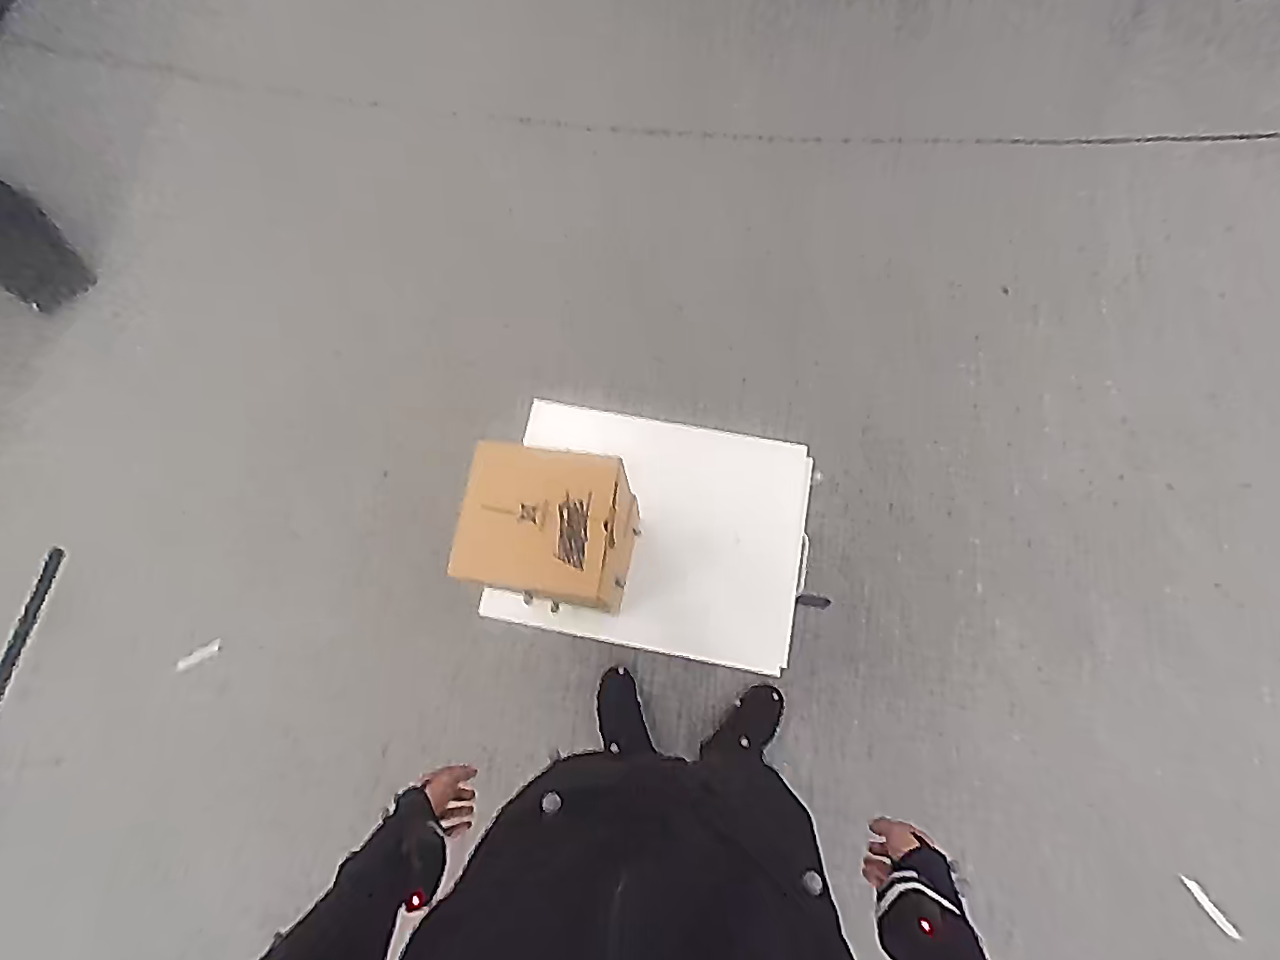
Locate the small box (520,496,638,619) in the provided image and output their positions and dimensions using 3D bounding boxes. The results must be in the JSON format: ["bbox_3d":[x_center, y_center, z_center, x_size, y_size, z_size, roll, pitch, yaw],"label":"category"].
[{"bbox_3d":[-0.100,0.112,0.846,0.168,0.176,0.179,11,75,5],"label":"small box"}]

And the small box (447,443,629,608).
[{"bbox_3d":[-0.113,0.067,0.689,0.179,0.176,0.168,7,74,6],"label":"small box"}]
